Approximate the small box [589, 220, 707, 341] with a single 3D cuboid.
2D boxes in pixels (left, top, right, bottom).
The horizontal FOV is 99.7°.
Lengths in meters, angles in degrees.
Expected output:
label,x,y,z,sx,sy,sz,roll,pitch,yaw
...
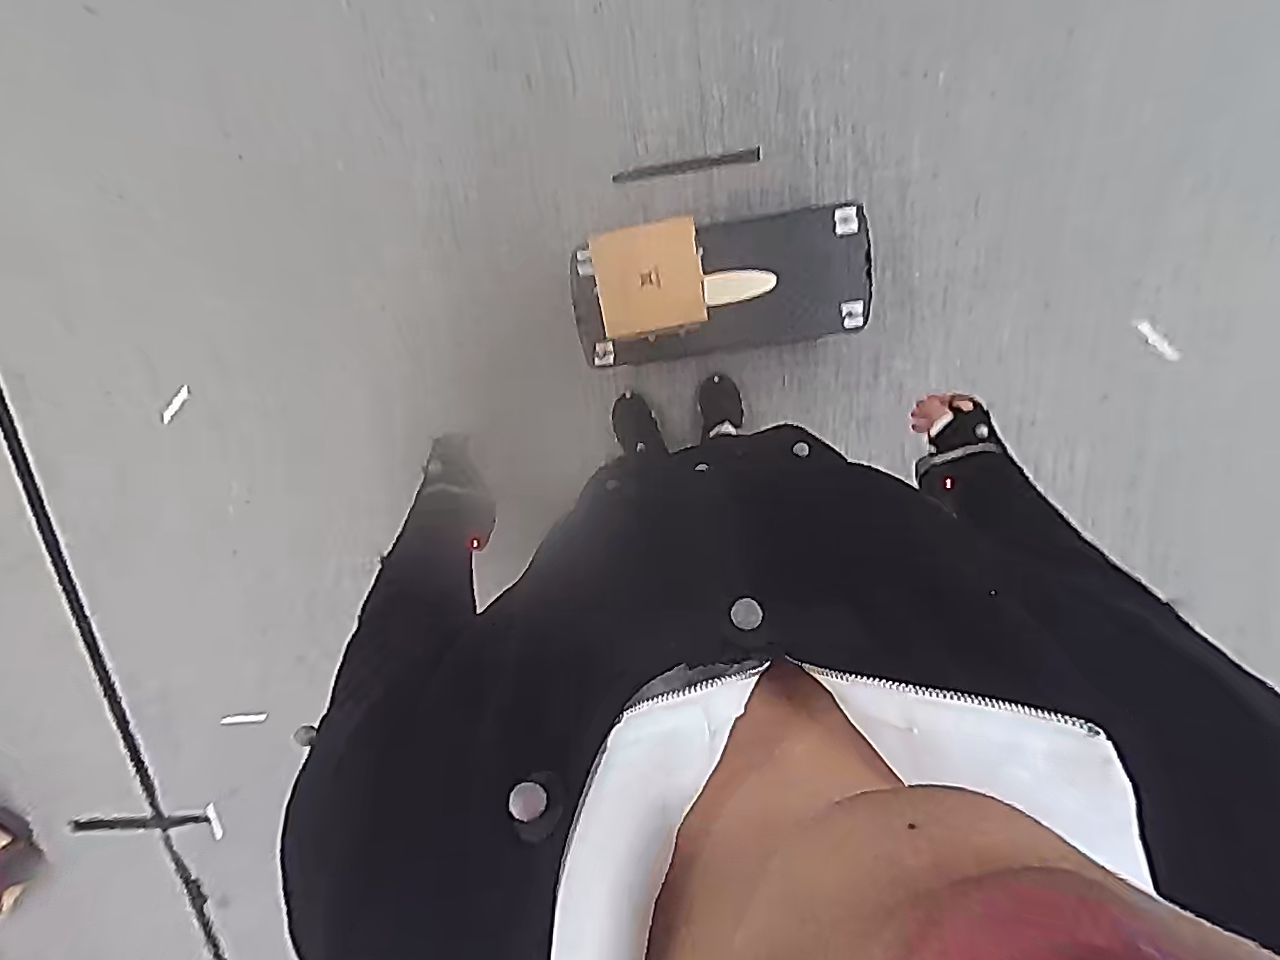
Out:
label,x,y,z,sx,sy,sz,roll,pitch,yaw
small box,0.016,-0.351,0.978,0.179,0.176,0.168,-10,102,5
